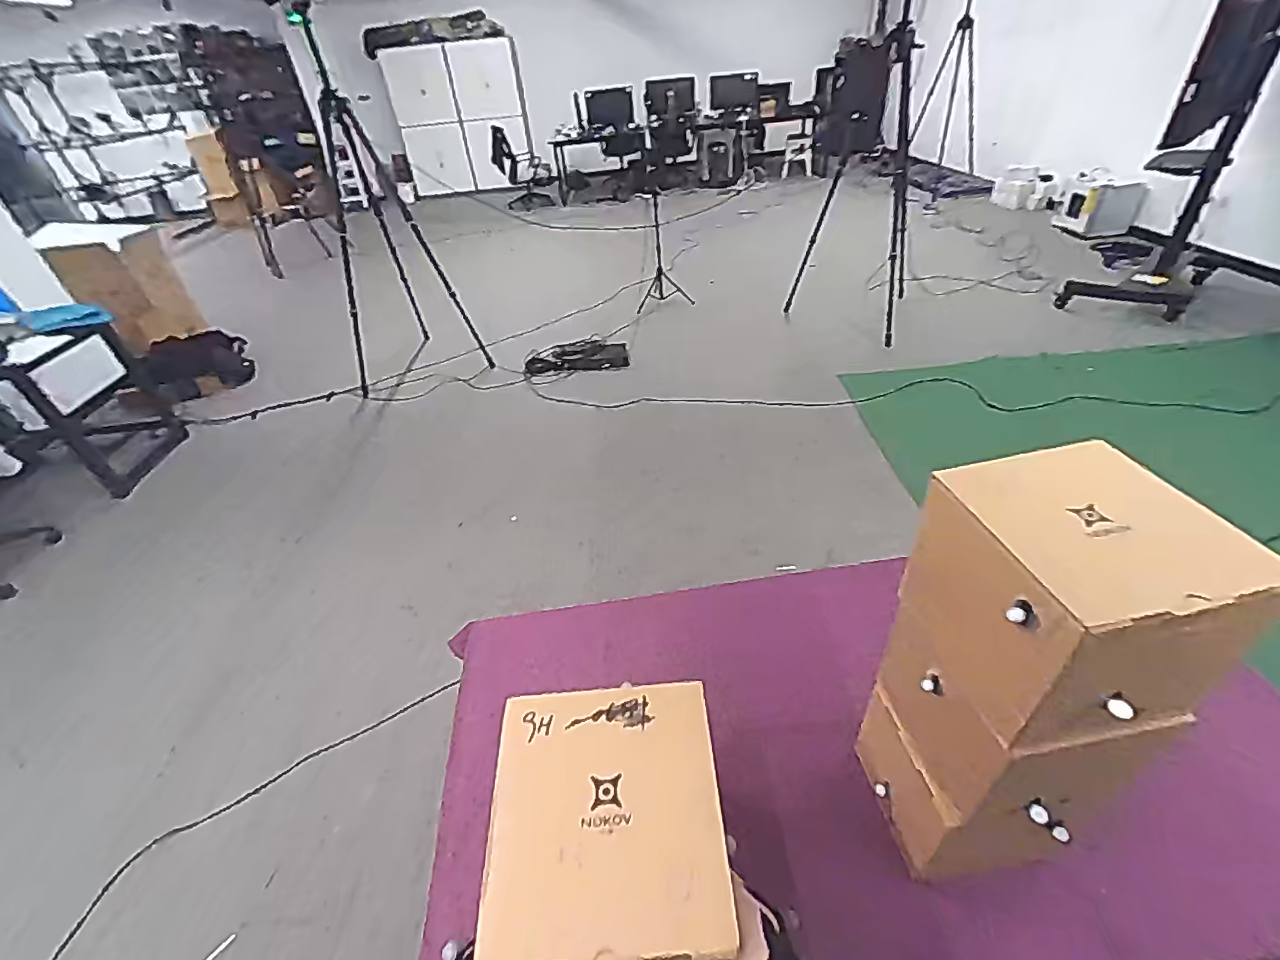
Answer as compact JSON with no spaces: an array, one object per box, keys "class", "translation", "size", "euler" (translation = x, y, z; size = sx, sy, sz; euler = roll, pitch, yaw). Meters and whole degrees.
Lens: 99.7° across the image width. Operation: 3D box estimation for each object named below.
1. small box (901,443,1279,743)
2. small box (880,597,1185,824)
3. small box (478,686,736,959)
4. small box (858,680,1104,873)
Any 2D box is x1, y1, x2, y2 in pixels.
[{"class":"small box","translation":[0.359,0.094,0.473],"size":[0.168,0.176,0.179],"euler":[-11,39,-4]},{"class":"small box","translation":[0.378,0.224,0.569],"size":[0.168,0.176,0.179],"euler":[-10,39,-2]},{"class":"small box","translation":[-0.018,0.294,0.445],"size":[0.168,0.176,0.179],"euler":[-5,45,0]},{"class":"small box","translation":[0.395,0.353,0.667],"size":[0.179,0.176,0.168],"euler":[-9,38,-2]}]
